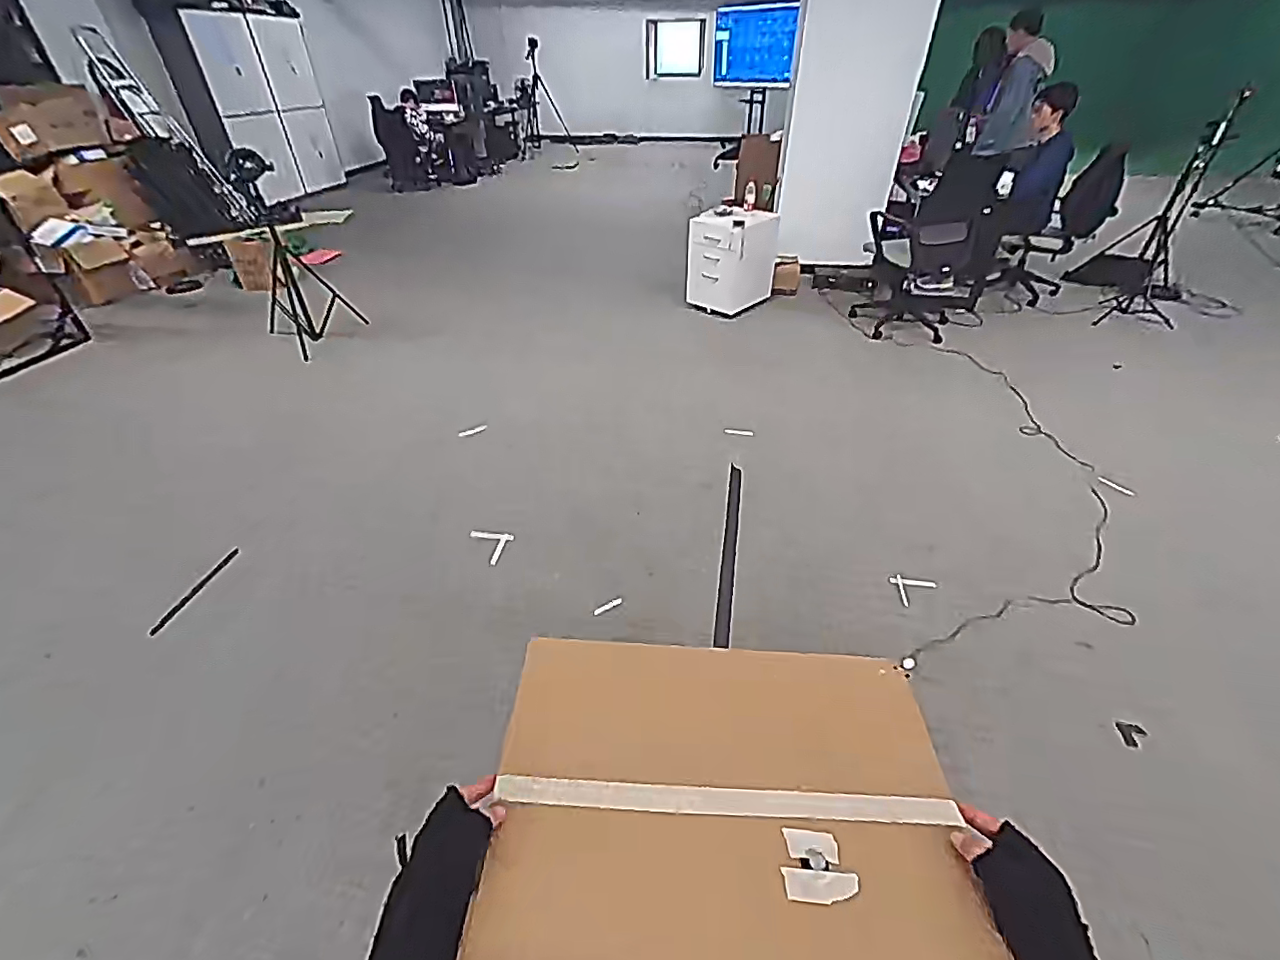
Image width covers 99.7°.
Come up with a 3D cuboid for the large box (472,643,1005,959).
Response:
[{"bbox_3d":[0.071,0.402,0.574,0.408,0.320,0.320,4,39,0],"label":"large box"}]
